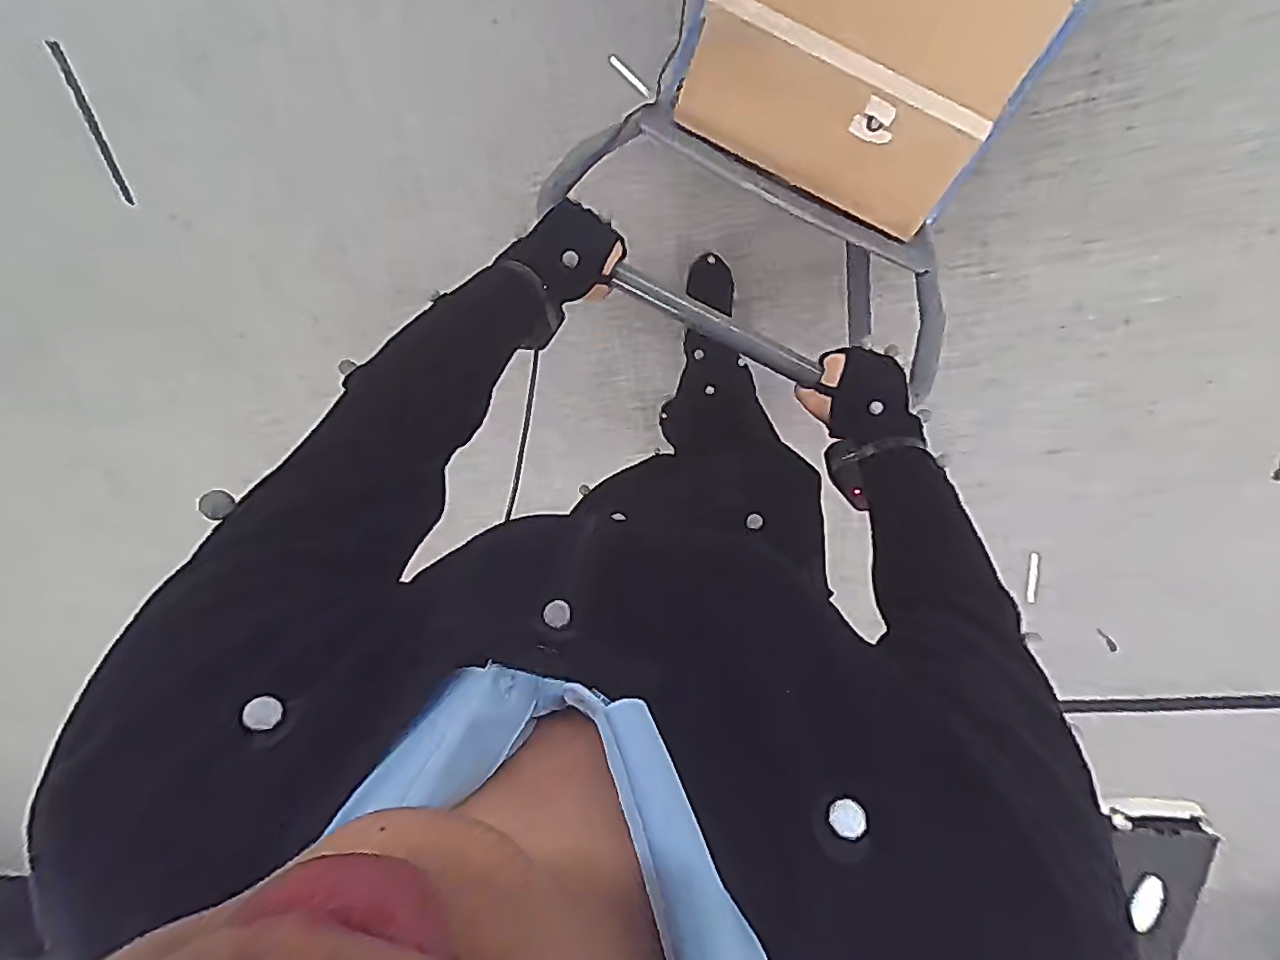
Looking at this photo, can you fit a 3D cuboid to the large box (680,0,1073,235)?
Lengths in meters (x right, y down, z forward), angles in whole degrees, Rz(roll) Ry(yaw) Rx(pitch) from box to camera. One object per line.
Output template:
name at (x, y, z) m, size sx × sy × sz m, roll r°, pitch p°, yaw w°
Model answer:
large box at (0.327, -0.649, 0.837) m, size 0.408 × 0.320 × 0.320 m, roll 27°, pitch 133°, yaw -1°
